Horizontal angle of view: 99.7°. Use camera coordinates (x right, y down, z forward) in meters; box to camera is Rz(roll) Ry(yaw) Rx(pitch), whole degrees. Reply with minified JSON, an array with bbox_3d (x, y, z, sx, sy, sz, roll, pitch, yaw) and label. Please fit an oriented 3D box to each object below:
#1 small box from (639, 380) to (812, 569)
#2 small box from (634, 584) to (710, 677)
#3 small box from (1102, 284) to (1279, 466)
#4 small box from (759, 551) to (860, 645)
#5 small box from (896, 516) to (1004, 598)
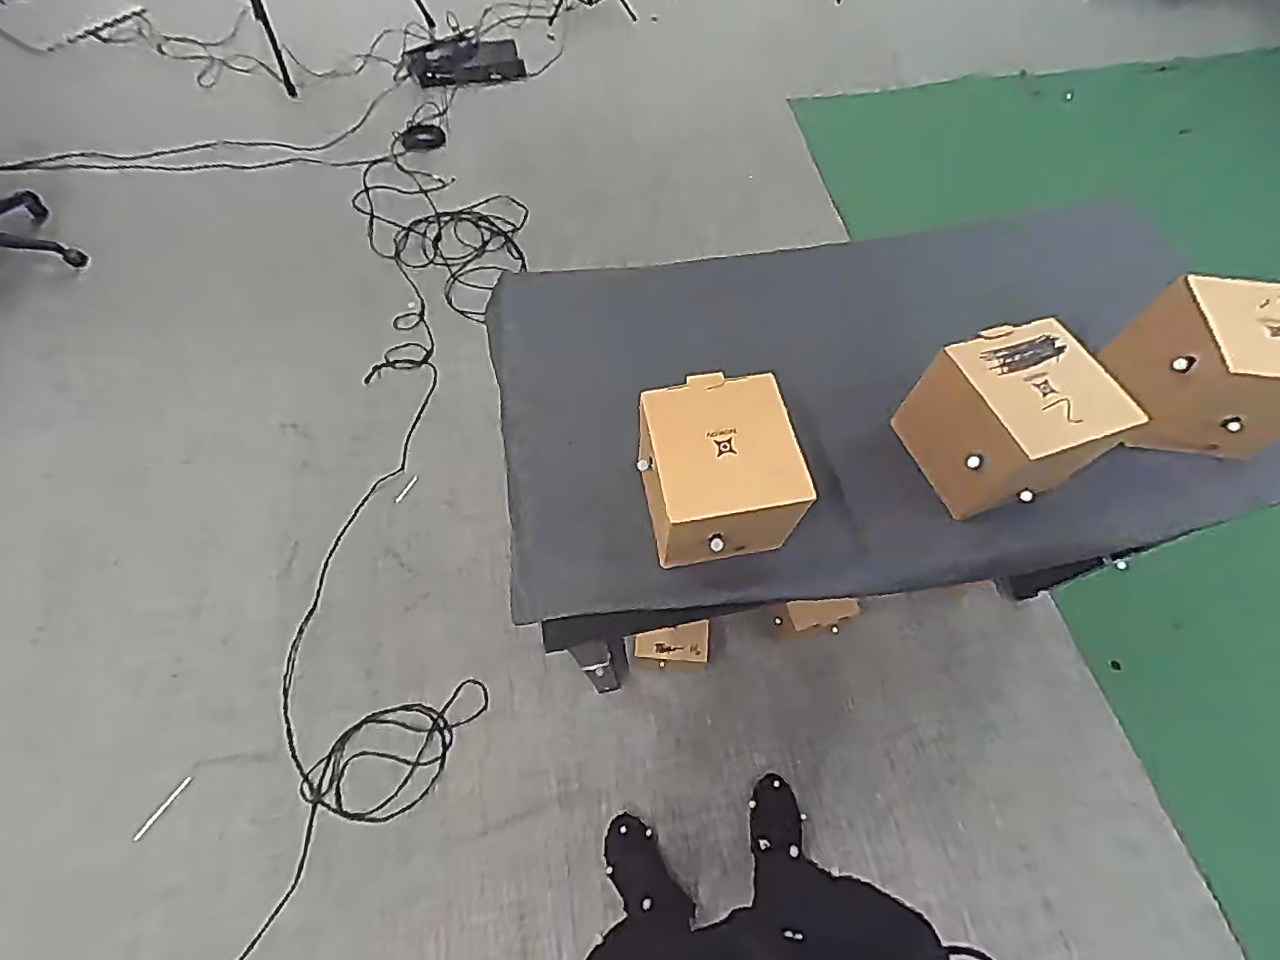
[{"bbox_3d":[0.094,0.003,0.680,0.168,0.176,0.179,-9,63,-4],"label":"small box"},{"bbox_3d":[0.075,0.368,1.311,0.168,0.176,0.179,5,63,3],"label":"small box"},{"bbox_3d":[0.798,-0.138,0.746,0.168,0.176,0.179,8,61,4],"label":"small box"},{"bbox_3d":[0.411,0.300,1.344,0.168,0.176,0.179,-12,63,-7],"label":"small box"},{"bbox_3d":[0.784,0.202,1.393,0.179,0.176,0.168,2,63,0],"label":"small box"}]
